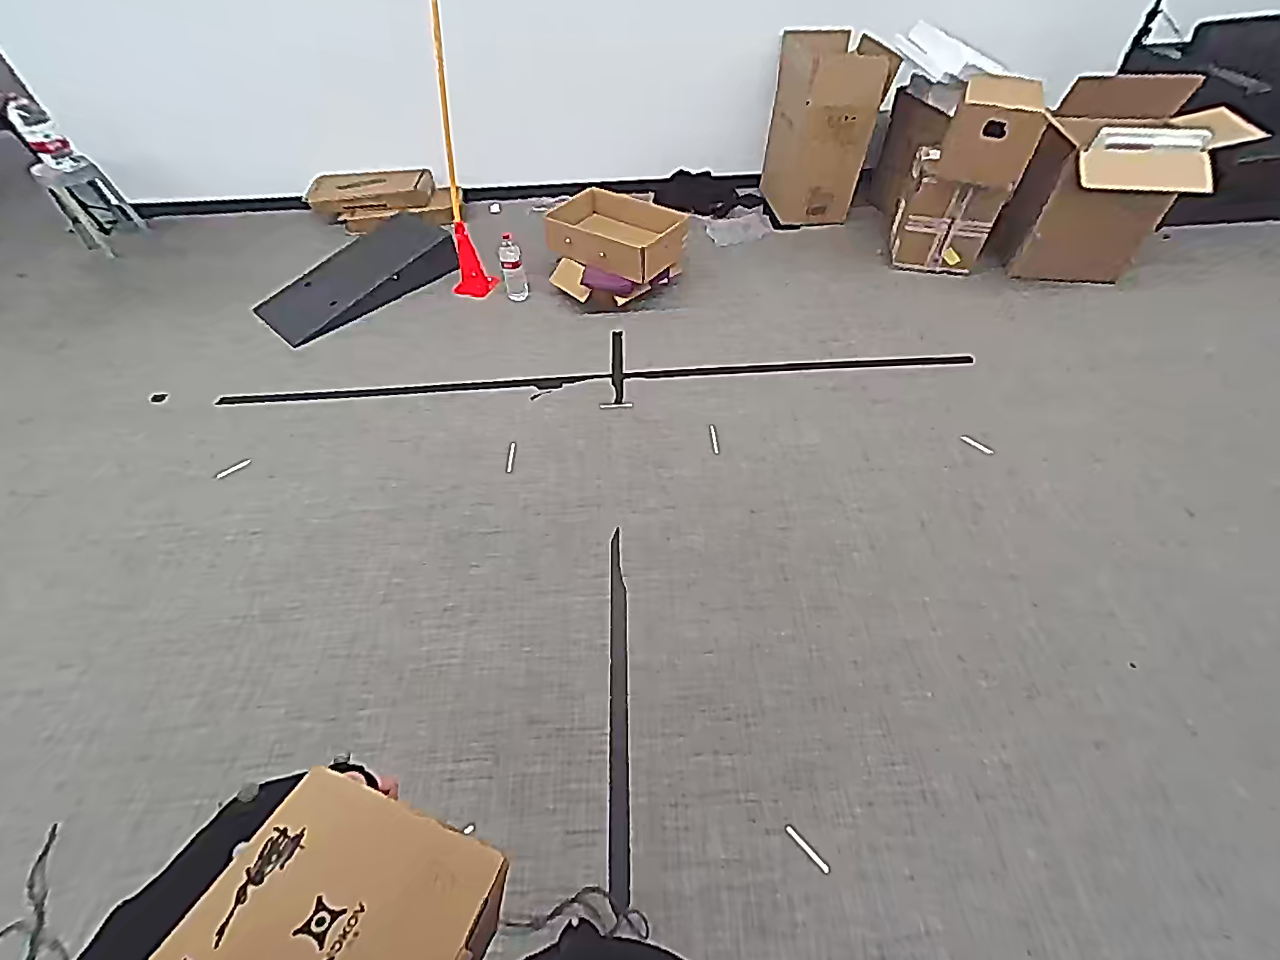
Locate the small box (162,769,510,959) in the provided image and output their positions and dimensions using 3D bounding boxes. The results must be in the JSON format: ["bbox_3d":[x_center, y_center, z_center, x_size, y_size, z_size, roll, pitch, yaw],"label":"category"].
[{"bbox_3d":[-0.221,0.368,0.410,0.179,0.176,0.168,20,35,7],"label":"small box"}]
